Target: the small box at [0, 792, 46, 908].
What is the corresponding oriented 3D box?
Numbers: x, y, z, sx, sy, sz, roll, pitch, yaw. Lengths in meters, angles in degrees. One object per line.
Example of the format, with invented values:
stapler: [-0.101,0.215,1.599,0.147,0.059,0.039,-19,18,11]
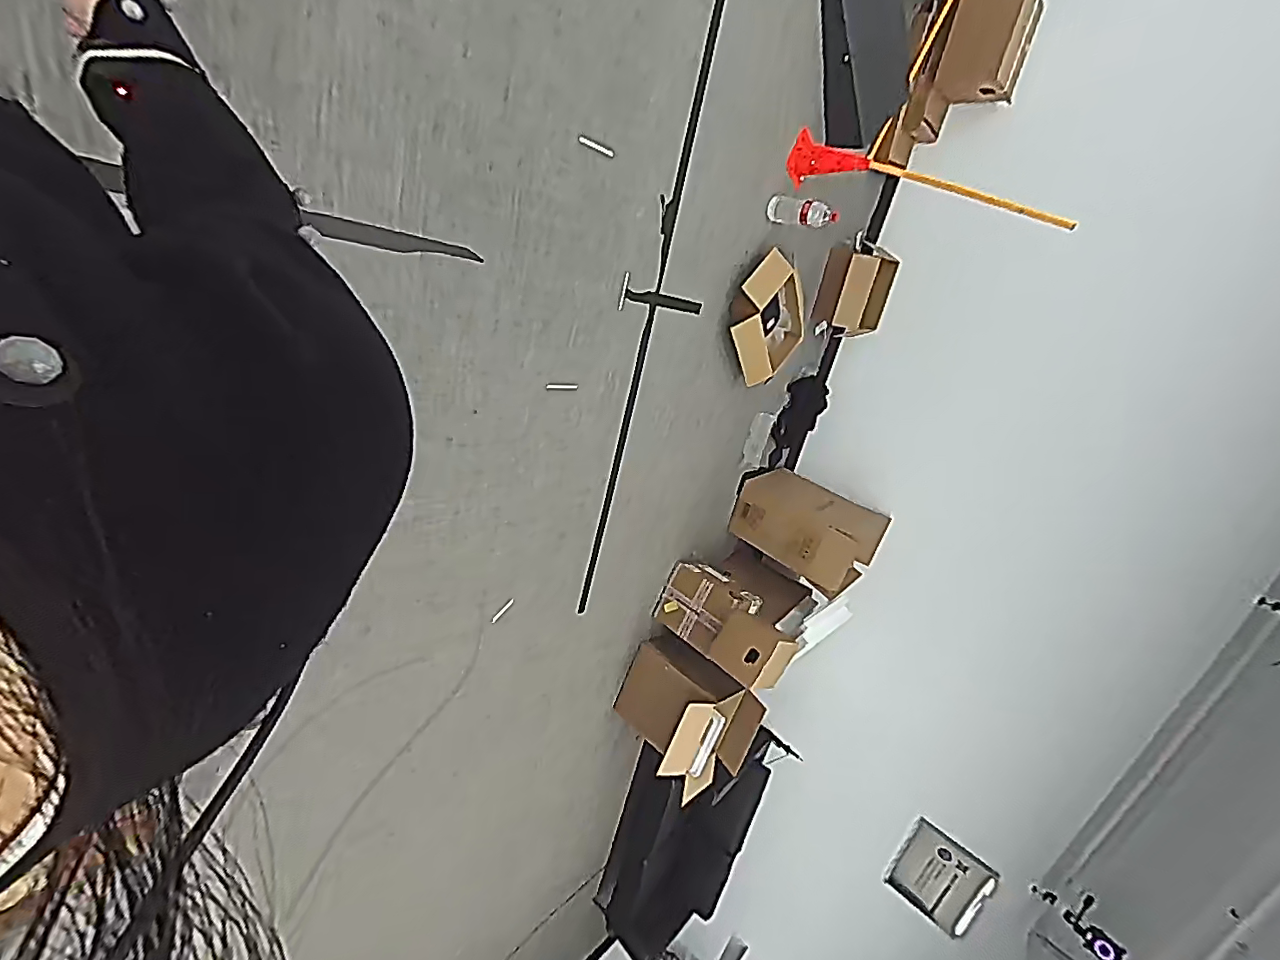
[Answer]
small box: [-1.466,0.841,1.192,0.168,0.176,0.179,-23,131,-44]
